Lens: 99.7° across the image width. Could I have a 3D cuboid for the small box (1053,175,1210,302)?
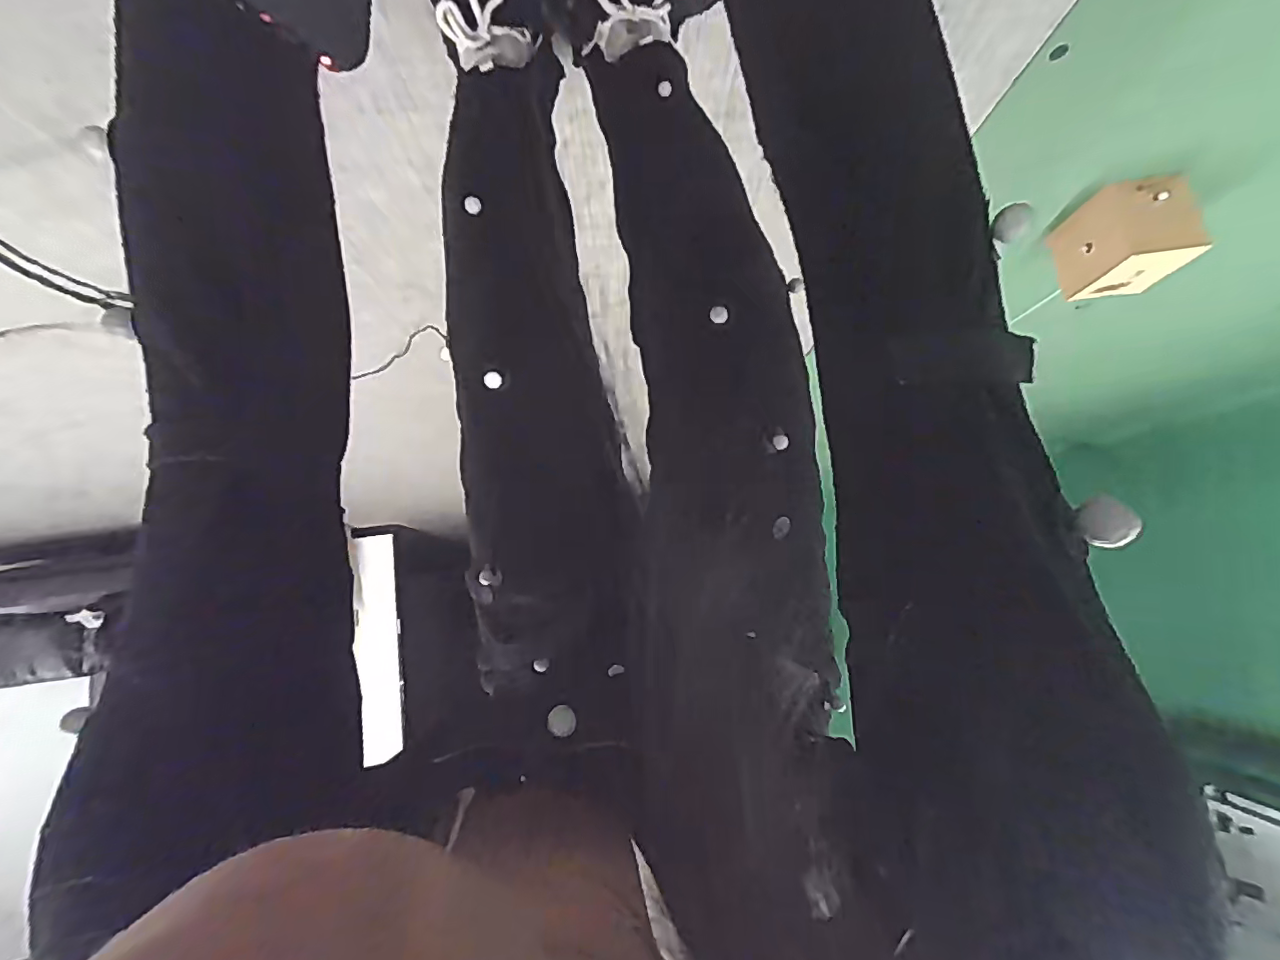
[{"bbox_3d":[1.021,-0.504,1.143,0.168,0.176,0.179,-7,169,1],"label":"small box"}]
